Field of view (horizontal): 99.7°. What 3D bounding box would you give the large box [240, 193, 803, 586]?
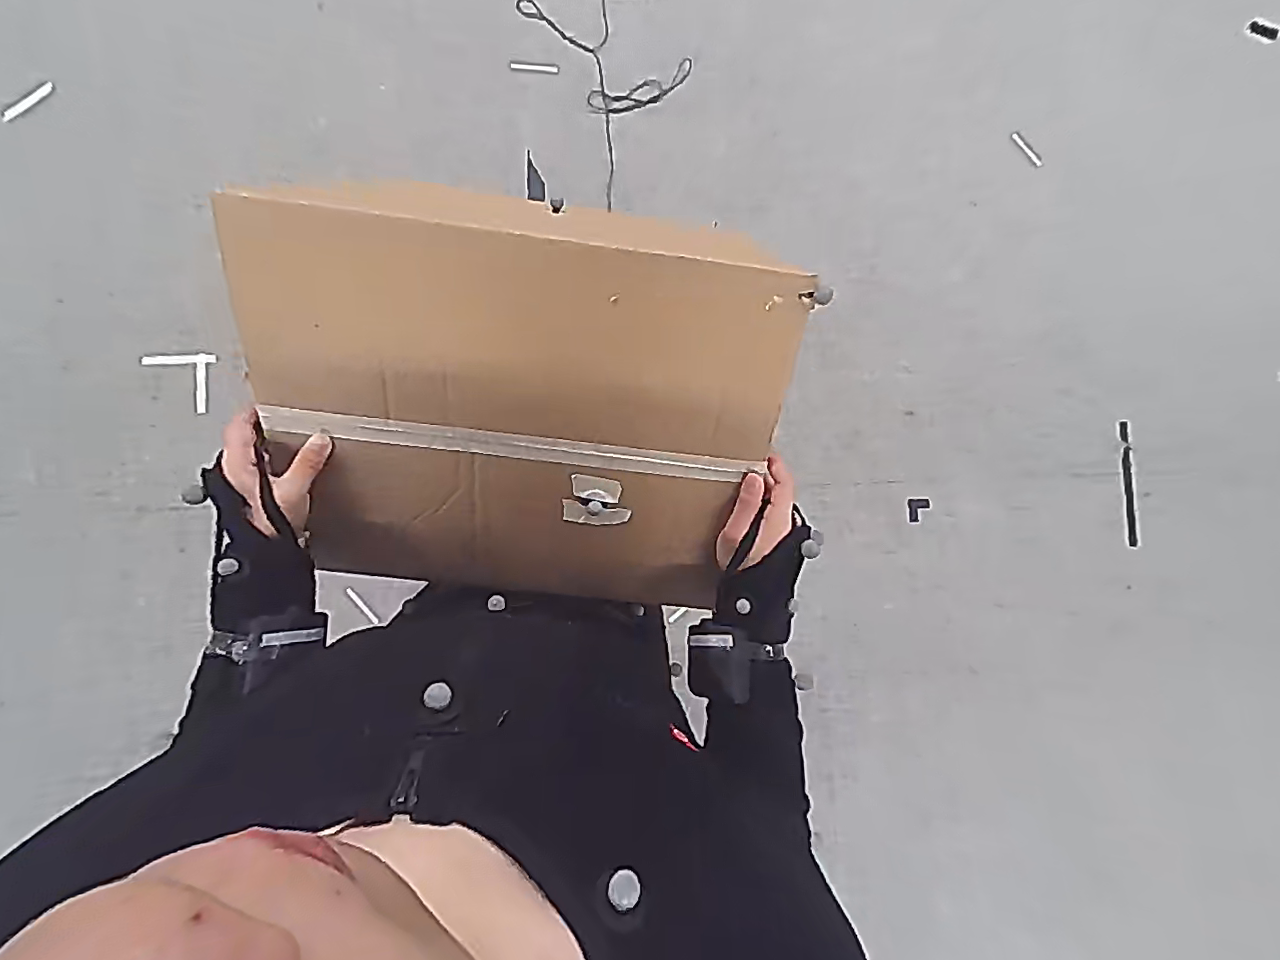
[{"bbox_3d":[-0.098,-0.114,0.581,0.408,0.320,0.320,5,121,-5],"label":"large box"}]
